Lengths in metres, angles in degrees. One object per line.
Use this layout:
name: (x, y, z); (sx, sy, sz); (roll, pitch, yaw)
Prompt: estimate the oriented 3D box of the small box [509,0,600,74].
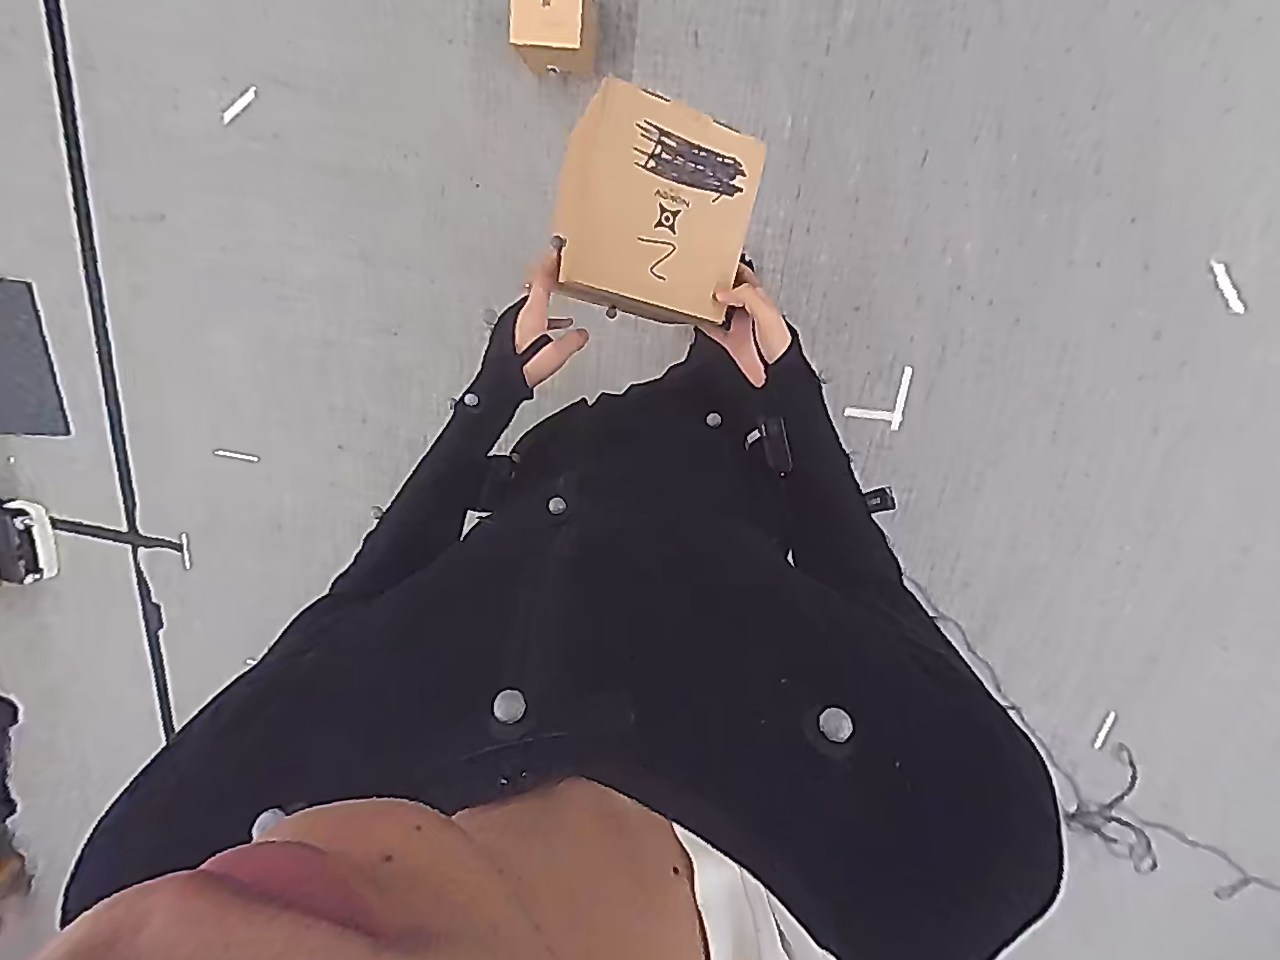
small box: (-0.193, -1.091, 1.259); (0.168, 0.176, 0.179); (9, 107, 5)
